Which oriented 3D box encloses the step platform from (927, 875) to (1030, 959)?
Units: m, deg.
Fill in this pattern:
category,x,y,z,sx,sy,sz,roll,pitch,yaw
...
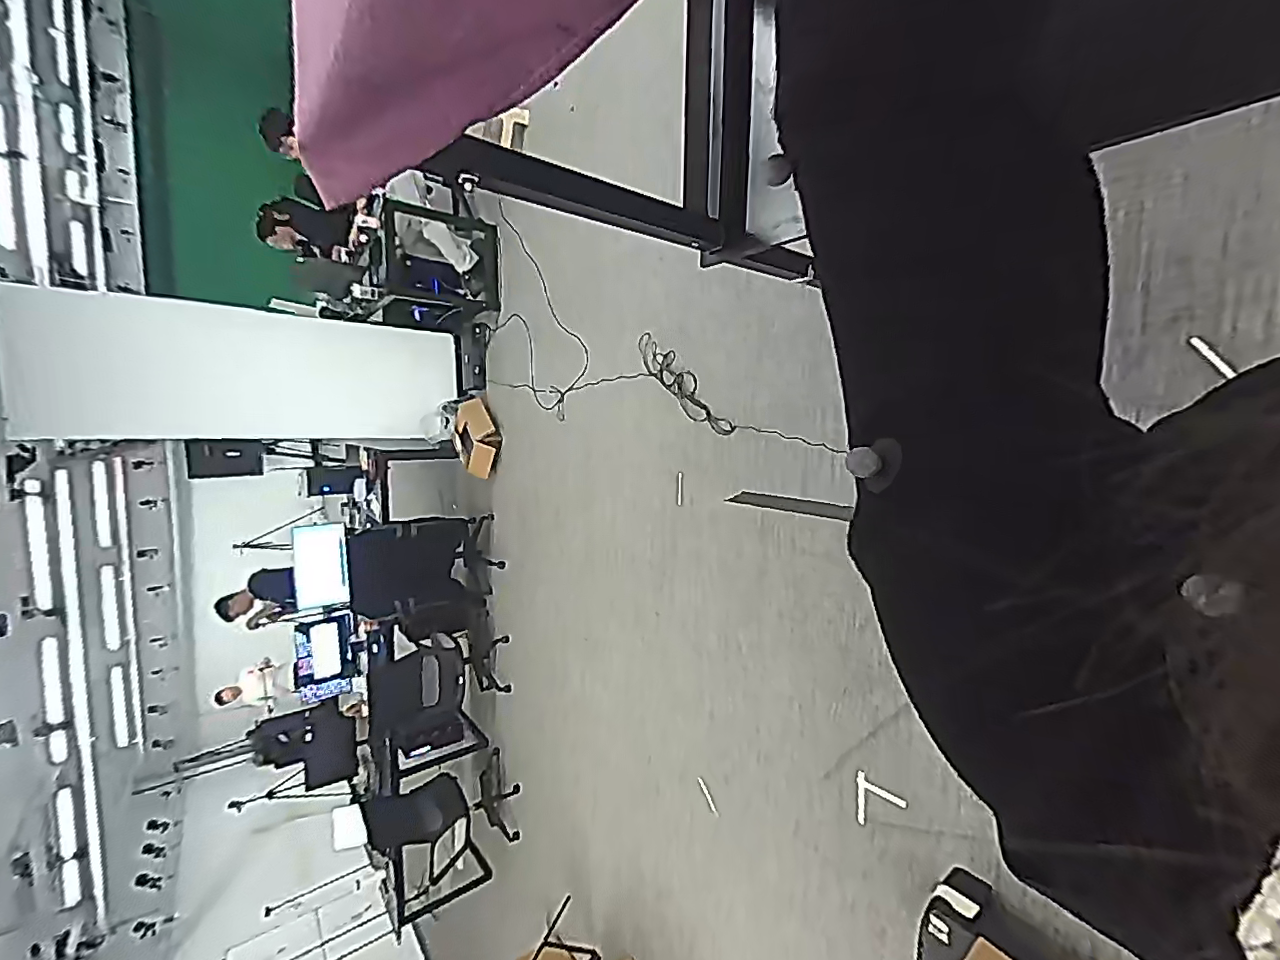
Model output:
category,x,y,z,sx,sy,sz,roll,pitch,yaw
step platform,1.011,1.262,1.187,0.684,0.204,0.286,17,106,50
